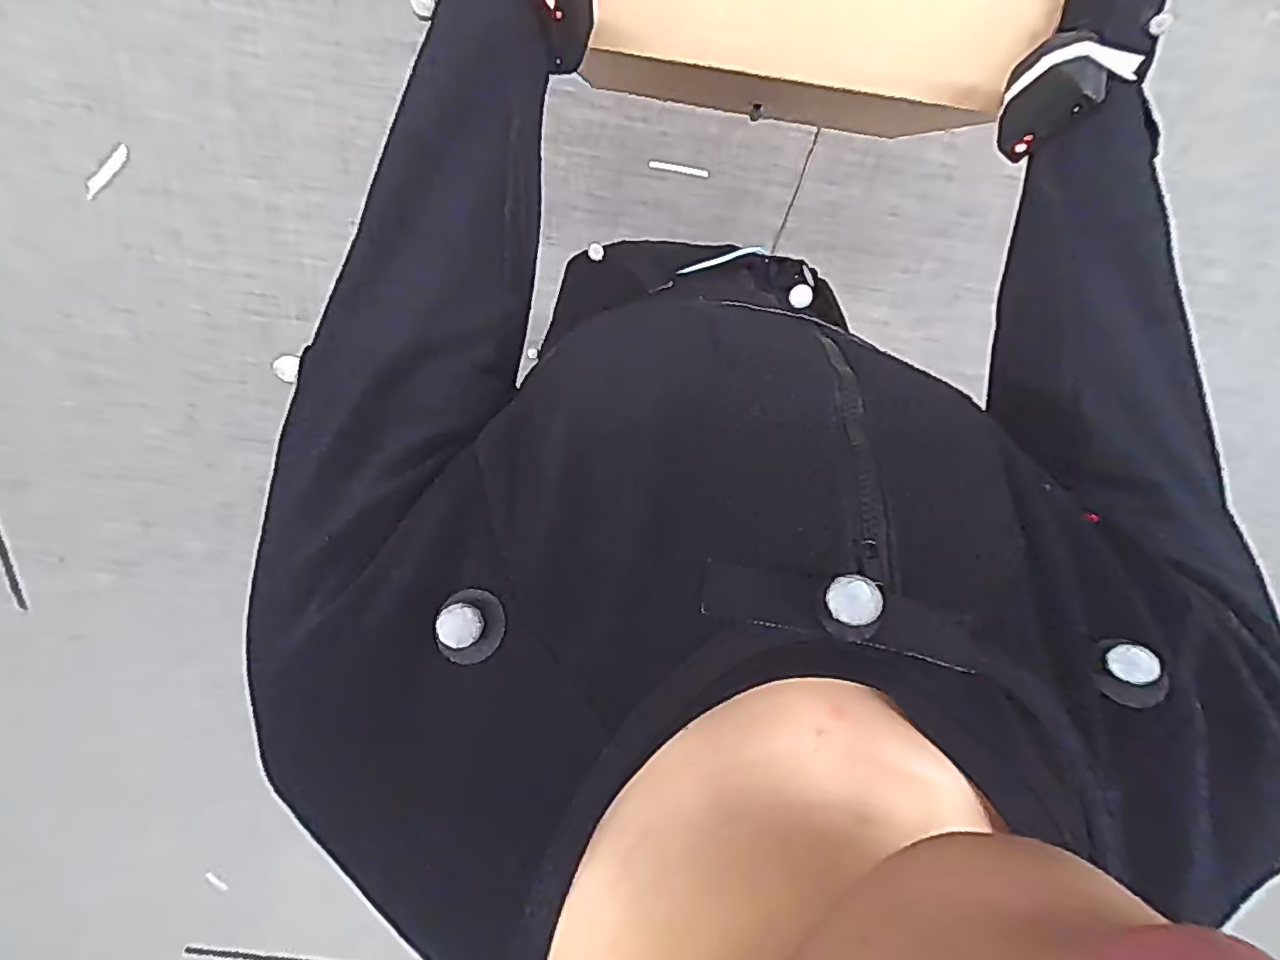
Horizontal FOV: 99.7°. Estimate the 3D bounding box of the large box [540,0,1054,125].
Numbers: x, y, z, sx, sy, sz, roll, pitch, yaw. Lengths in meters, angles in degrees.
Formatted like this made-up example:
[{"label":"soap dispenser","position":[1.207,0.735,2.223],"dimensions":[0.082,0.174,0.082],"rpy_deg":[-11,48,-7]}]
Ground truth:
[{"label":"large box","position":[0.145,-0.544,0.499],"dimensions":[0.408,0.320,0.320],"rpy_deg":[9,119,-1]}]
